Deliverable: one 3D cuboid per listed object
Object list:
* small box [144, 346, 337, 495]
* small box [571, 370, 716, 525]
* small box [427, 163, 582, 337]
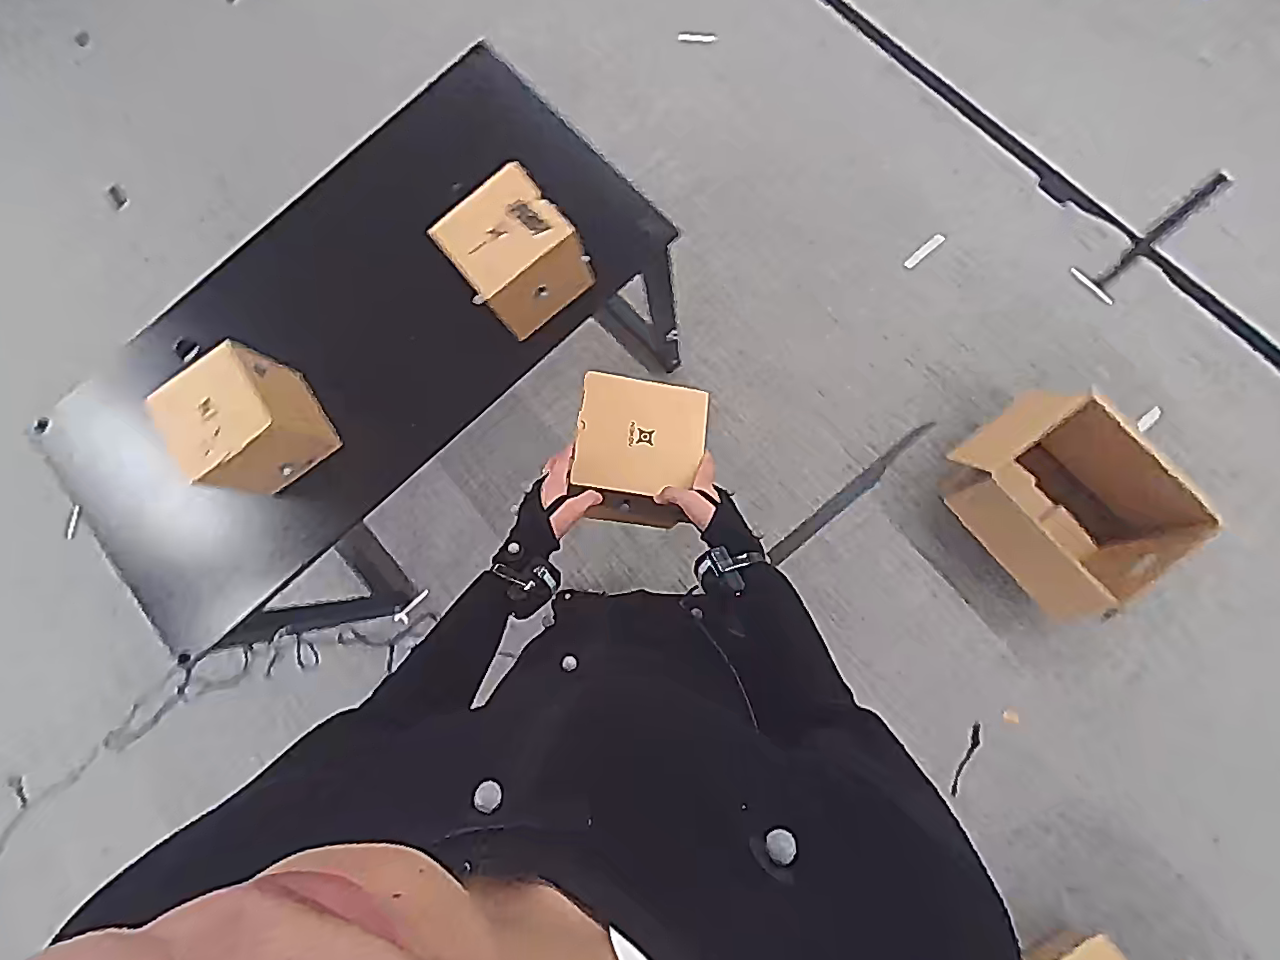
[{"bbox_3d":[-0.675,-0.091,0.933,0.168,0.176,0.179,-36,81,0],"label":"small box"},{"bbox_3d":[-0.001,-0.036,0.790,0.179,0.176,0.168,9,72,-6],"label":"small box"},{"bbox_3d":[-0.216,-0.381,0.924,0.179,0.176,0.168,-40,80,1],"label":"small box"}]
